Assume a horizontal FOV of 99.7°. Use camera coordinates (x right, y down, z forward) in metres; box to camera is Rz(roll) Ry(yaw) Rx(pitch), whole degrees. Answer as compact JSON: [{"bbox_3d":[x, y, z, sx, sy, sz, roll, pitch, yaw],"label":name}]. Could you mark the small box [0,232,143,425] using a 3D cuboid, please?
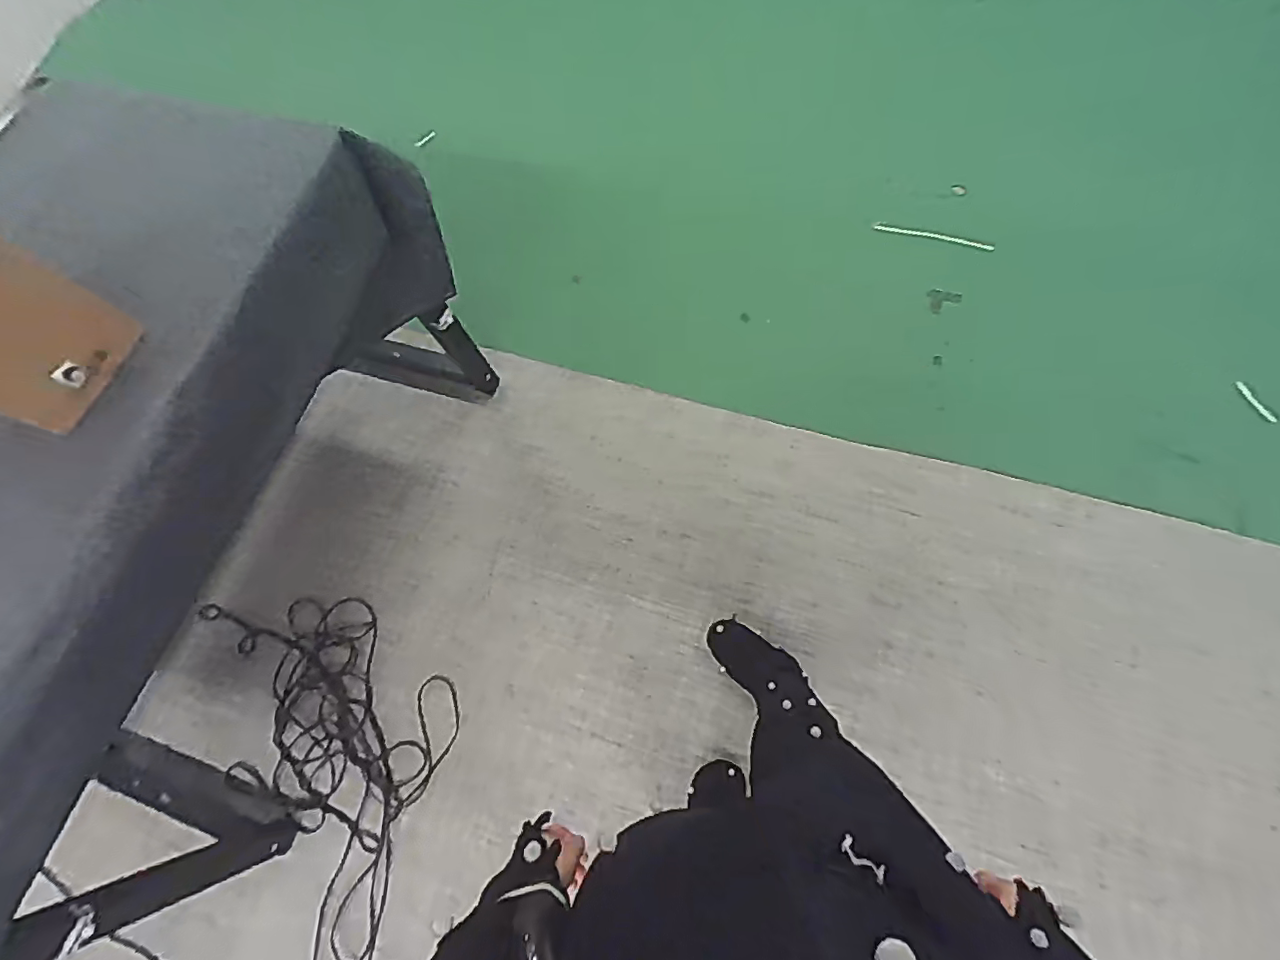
[{"bbox_3d":[-0.751,-0.181,0.620,0.179,0.176,0.168,17,75,11],"label":"small box"}]
